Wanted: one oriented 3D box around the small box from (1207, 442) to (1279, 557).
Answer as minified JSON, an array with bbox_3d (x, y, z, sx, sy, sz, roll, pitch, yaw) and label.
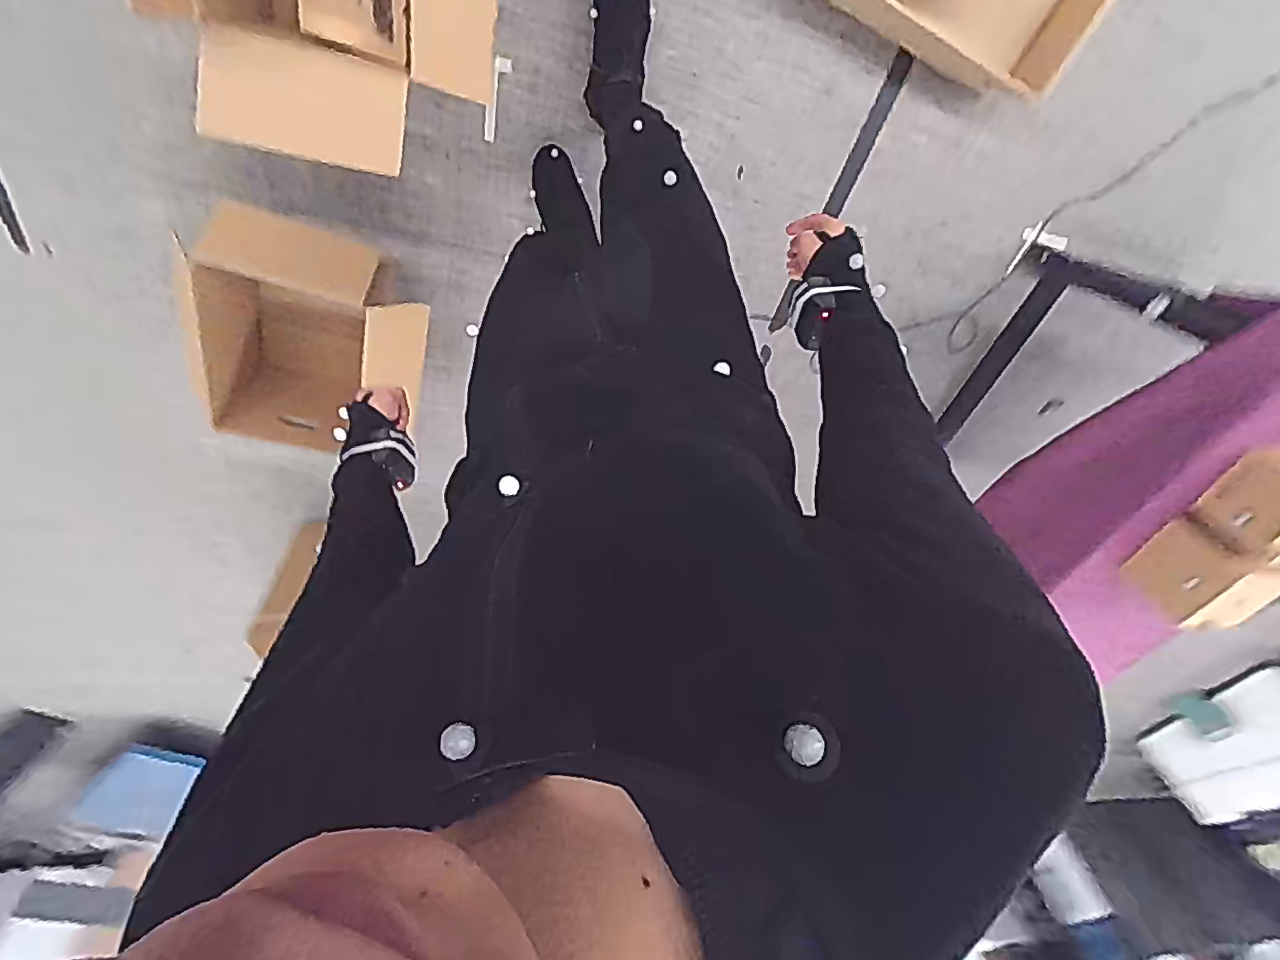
[{"bbox_3d":[1.313,0.037,1.070,0.179,0.176,0.168,1,130,-11],"label":"small box"}]
